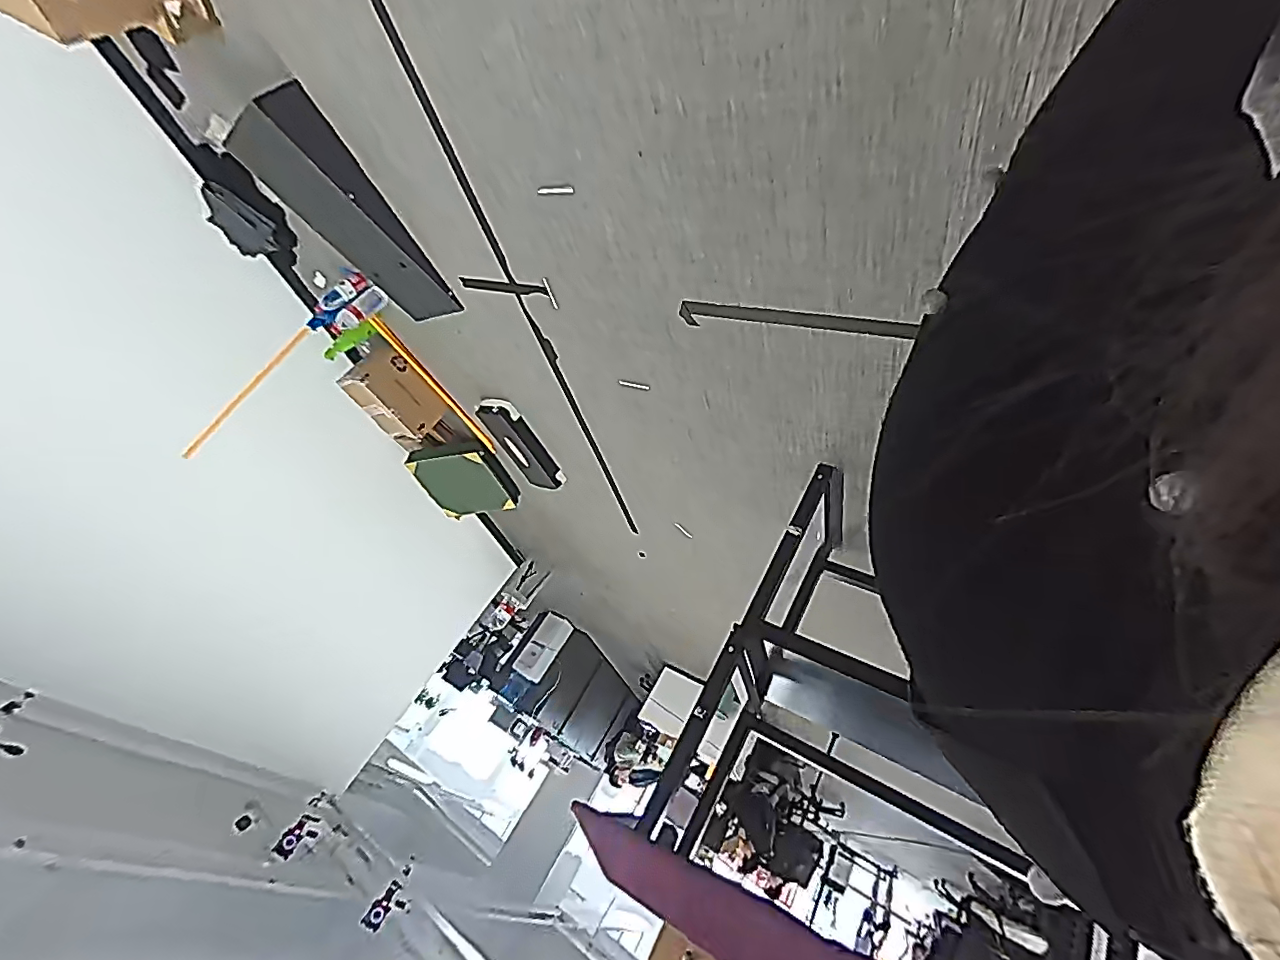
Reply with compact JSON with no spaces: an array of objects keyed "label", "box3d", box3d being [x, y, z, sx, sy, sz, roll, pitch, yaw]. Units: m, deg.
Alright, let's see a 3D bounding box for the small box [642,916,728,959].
[{"label":"small box","box3d":[0.104,1.223,1.339,0.179,0.176,0.168,18,149,31]}]
